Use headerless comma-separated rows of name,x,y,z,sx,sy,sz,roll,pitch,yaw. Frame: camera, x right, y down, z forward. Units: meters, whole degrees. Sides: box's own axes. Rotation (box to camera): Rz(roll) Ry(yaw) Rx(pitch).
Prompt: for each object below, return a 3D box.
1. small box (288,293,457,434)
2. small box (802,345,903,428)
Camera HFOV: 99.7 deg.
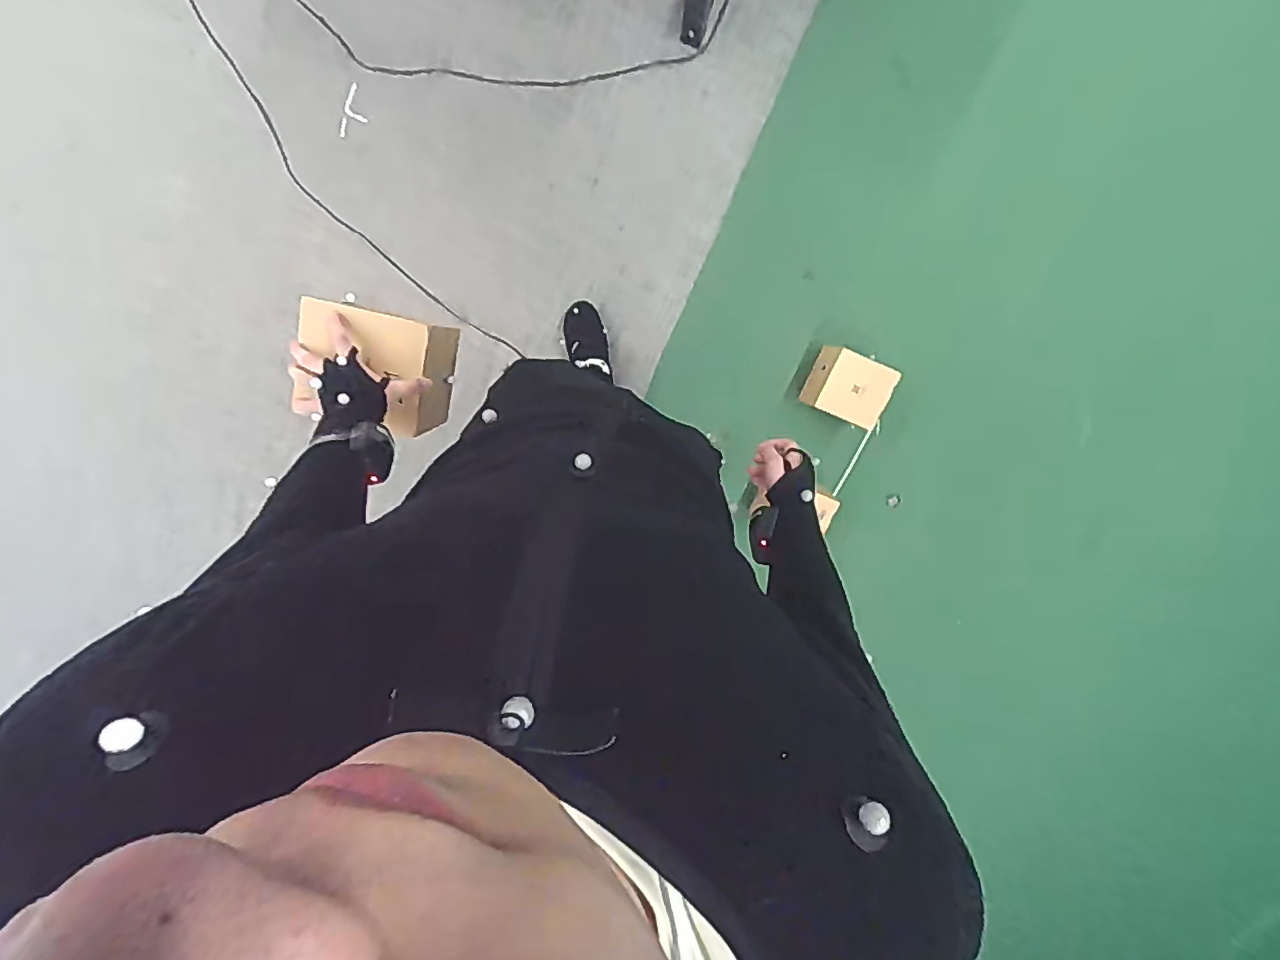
small box,-0.405,-0.180,0.839,0.179,0.176,0.168,12,104,-6
small box,0.570,-0.259,1.478,0.179,0.176,0.168,21,105,-6
